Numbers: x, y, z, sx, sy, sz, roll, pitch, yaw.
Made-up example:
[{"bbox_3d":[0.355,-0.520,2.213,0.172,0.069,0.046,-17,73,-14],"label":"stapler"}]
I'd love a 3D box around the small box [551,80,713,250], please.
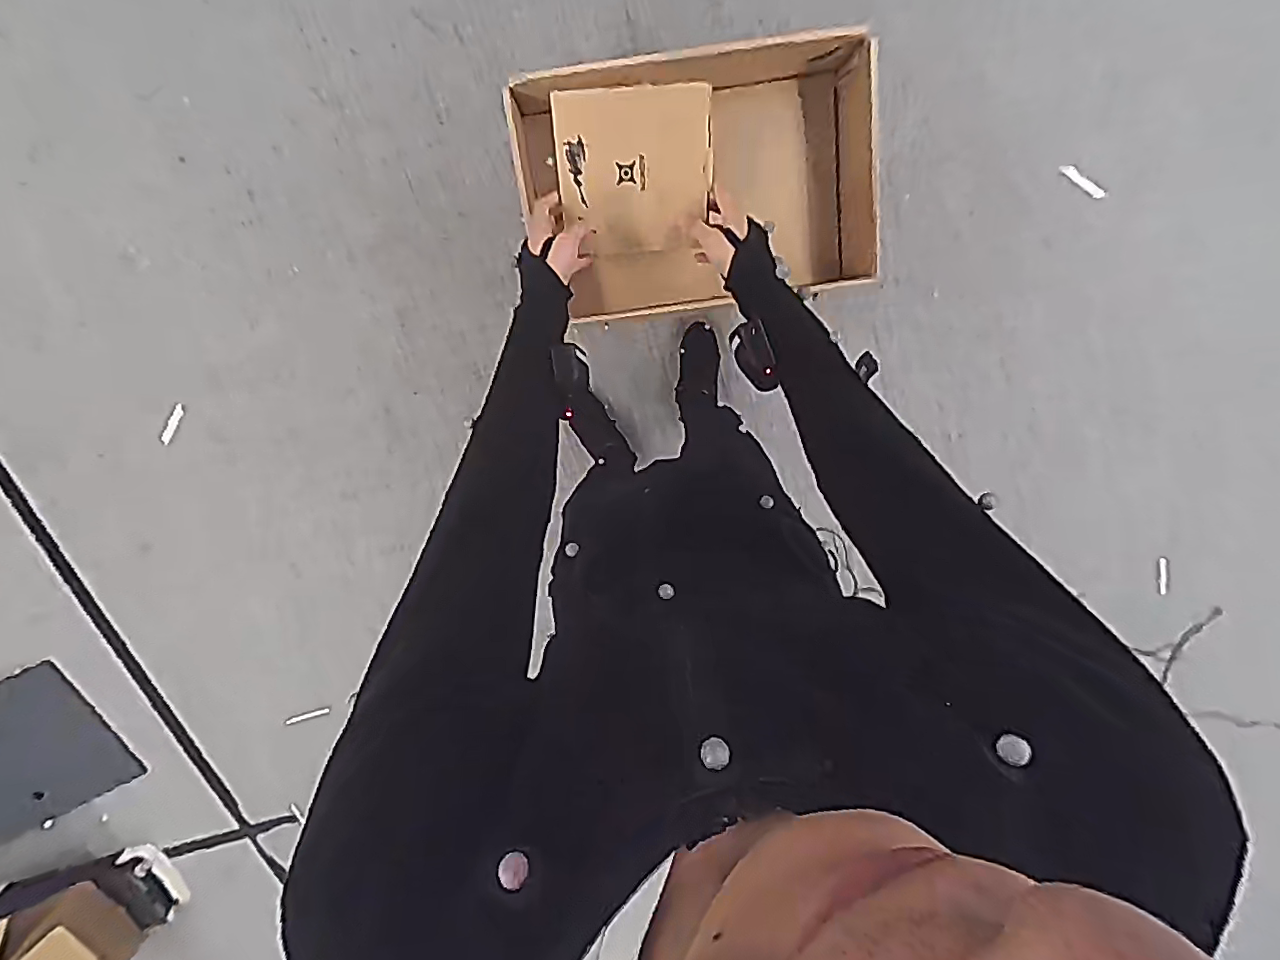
[{"bbox_3d":[-0.008,-0.388,0.678,0.179,0.176,0.168,-2,118,1],"label":"small box"}]
